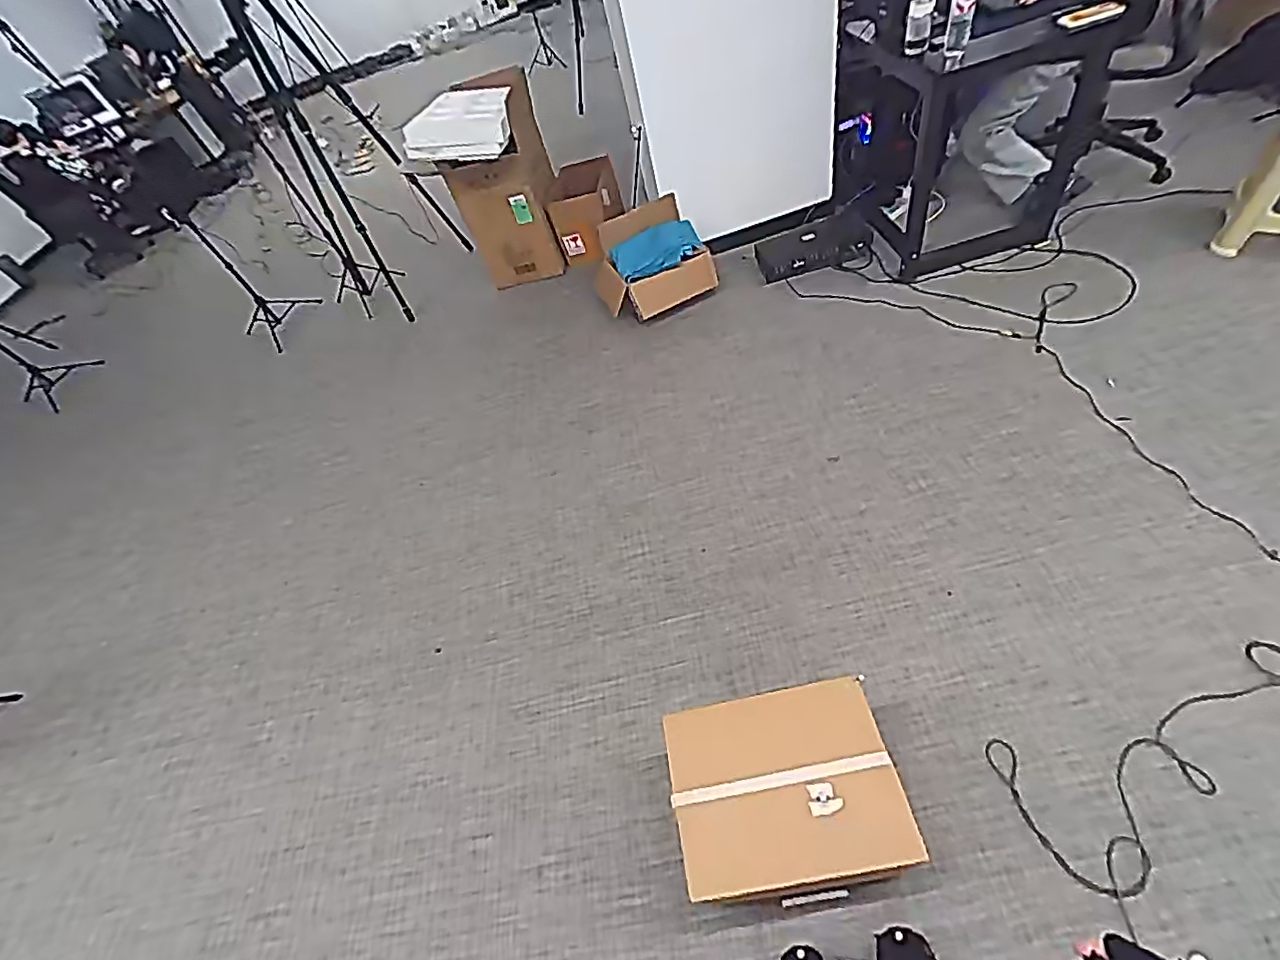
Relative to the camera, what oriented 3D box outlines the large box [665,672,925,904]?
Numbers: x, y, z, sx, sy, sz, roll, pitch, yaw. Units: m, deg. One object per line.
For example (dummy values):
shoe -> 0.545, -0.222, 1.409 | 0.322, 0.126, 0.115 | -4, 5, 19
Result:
large box -> 0.295, 0.643, 1.117 | 0.408, 0.320, 0.320 | -14, 50, 5
